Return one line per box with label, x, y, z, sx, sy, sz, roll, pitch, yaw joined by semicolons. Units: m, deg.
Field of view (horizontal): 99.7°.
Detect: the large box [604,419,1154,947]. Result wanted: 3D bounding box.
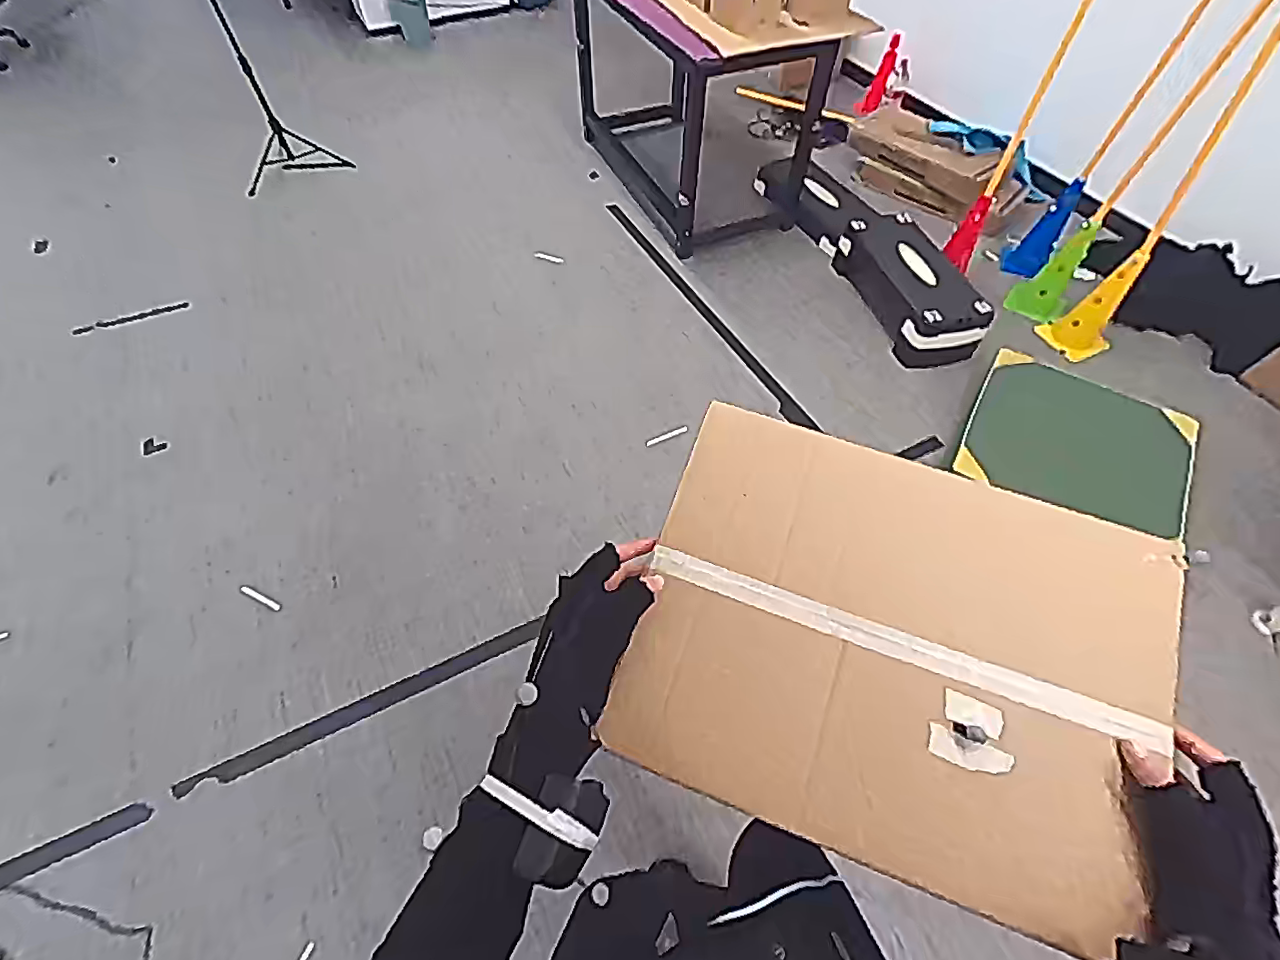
large box;0.210;0.181;0.593;0.408;0.320;0.320;19;75;9
